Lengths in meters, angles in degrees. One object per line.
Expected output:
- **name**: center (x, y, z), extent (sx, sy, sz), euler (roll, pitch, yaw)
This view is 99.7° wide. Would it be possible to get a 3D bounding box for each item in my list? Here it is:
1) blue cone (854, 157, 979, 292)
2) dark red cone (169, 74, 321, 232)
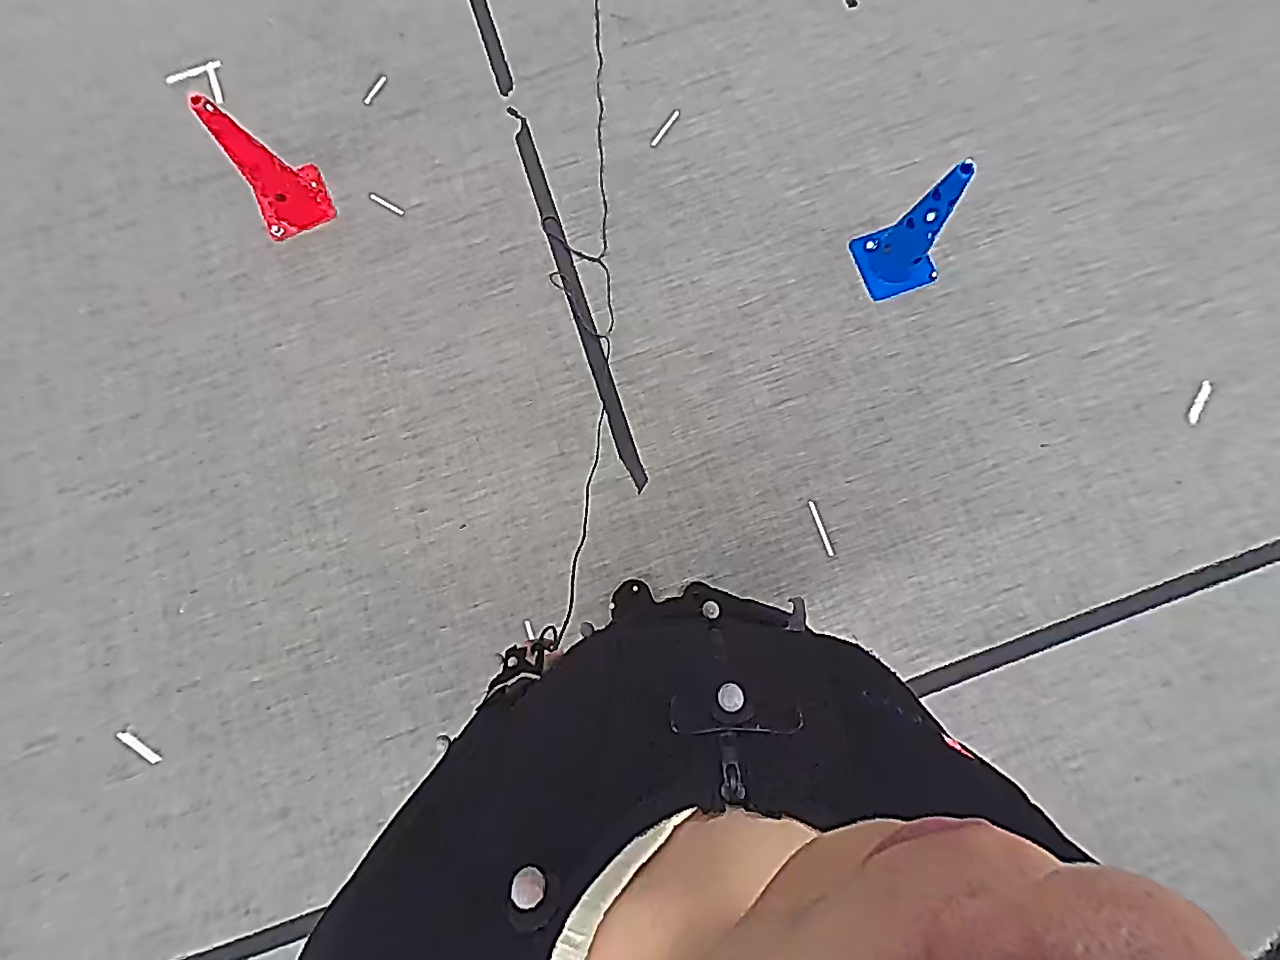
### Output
- **blue cone**: center (0.714, -0.656, 1.363), extent (0.192, 0.380, 0.193), euler (-18, 80, -3)
- **dark red cone**: center (-1.035, -0.852, 1.397), extent (0.201, 0.394, 0.202), euler (-26, 81, -5)
